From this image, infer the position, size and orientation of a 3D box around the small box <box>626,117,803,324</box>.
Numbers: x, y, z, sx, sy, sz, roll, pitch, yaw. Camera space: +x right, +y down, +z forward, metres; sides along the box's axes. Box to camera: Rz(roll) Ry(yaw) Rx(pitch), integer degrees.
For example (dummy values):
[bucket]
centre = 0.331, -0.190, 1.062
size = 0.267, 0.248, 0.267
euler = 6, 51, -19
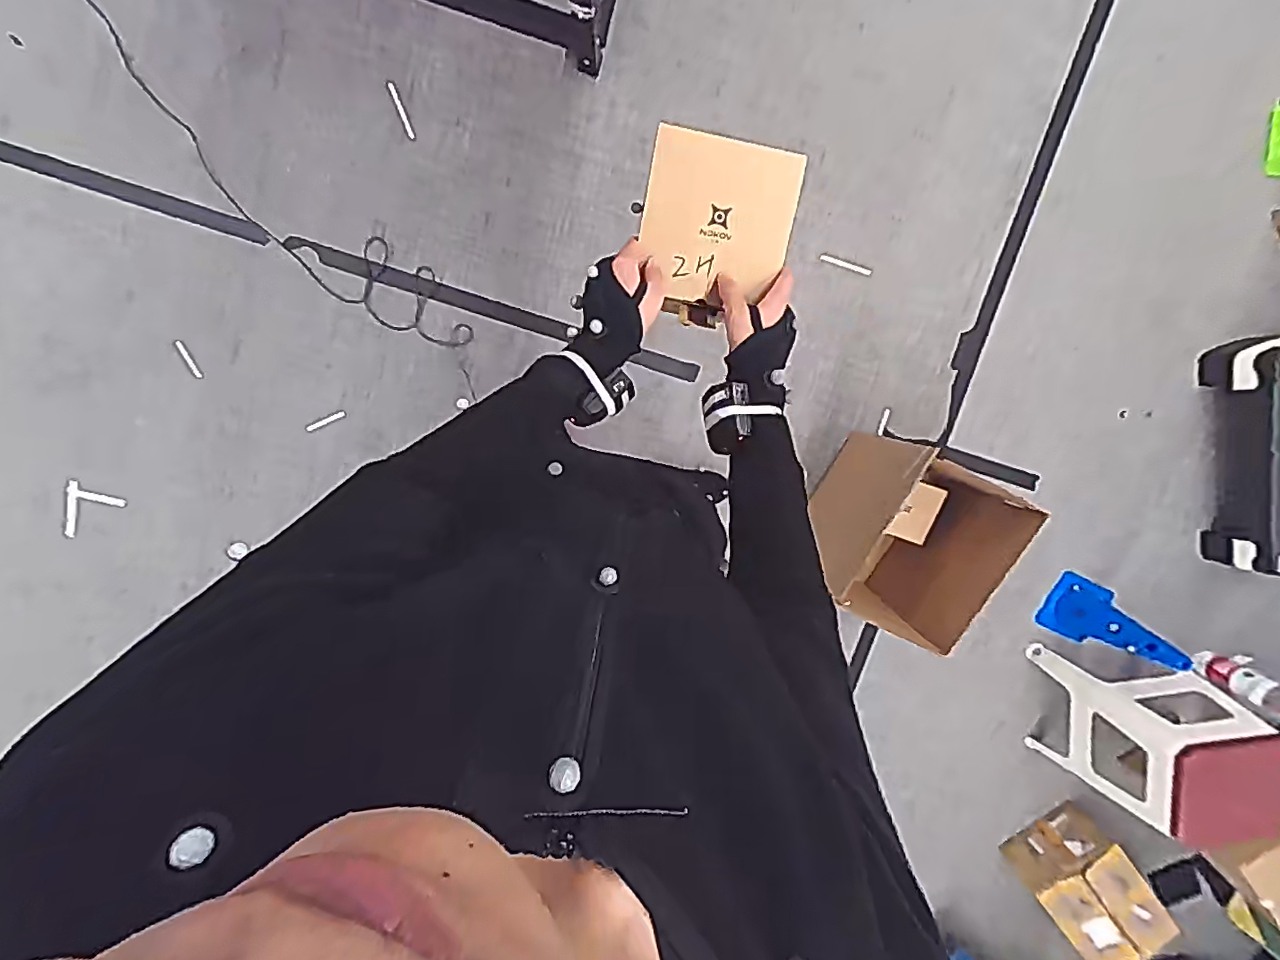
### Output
[small box]
centre = 0.077, -0.298, 0.662
size = 0.168, 0.176, 0.179
euler = 10, 103, -3
